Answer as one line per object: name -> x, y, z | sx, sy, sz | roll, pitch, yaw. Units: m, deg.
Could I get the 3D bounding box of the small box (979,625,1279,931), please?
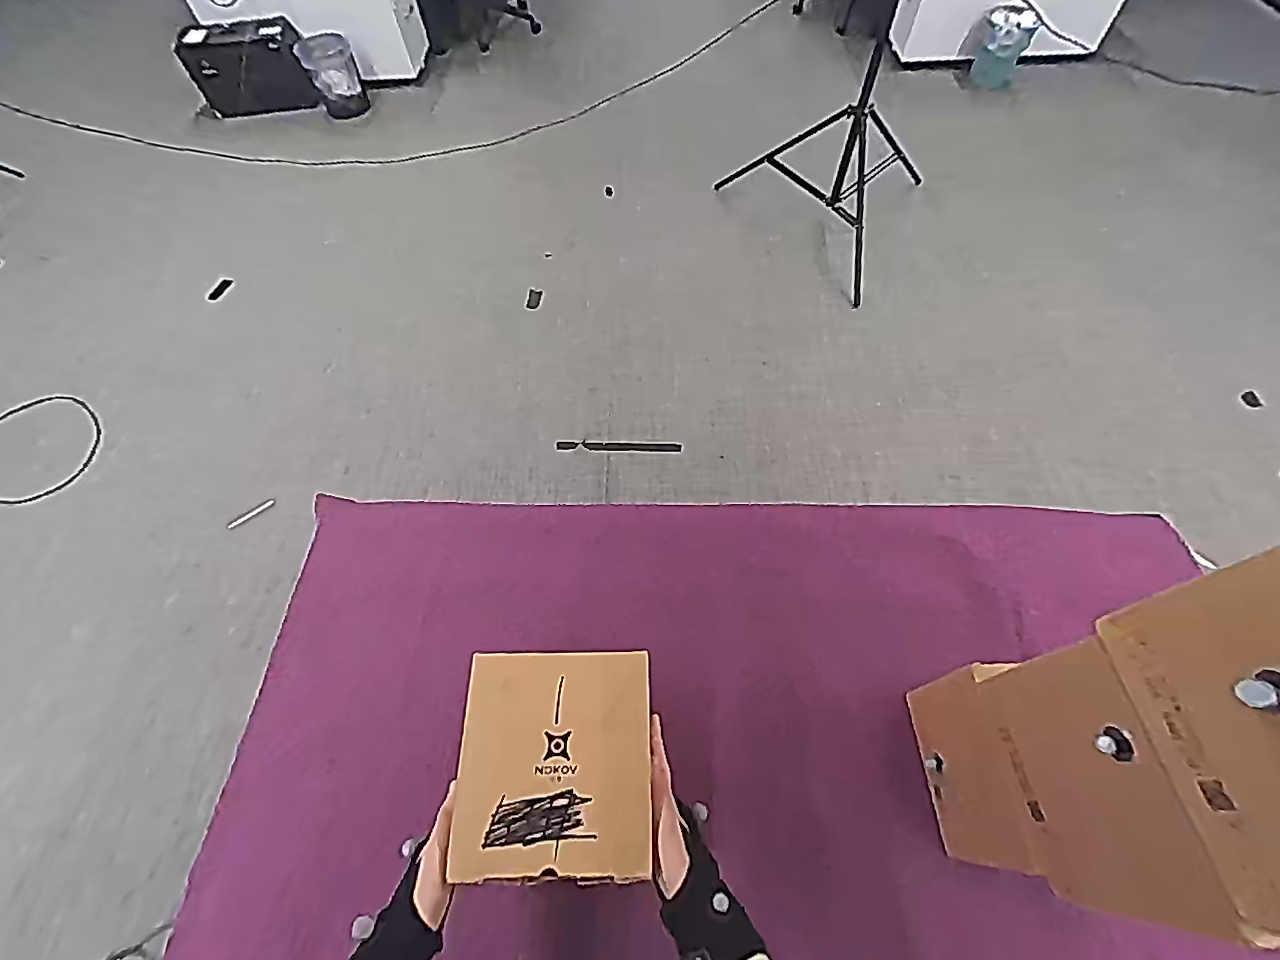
small box -> 0.401, 0.205, 0.397 | 0.179, 0.176, 0.168 | -5, 58, -1

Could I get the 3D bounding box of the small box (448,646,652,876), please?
small box -> -0.071, 0.269, 0.534 | 0.168, 0.176, 0.179 | 0, 61, -1
